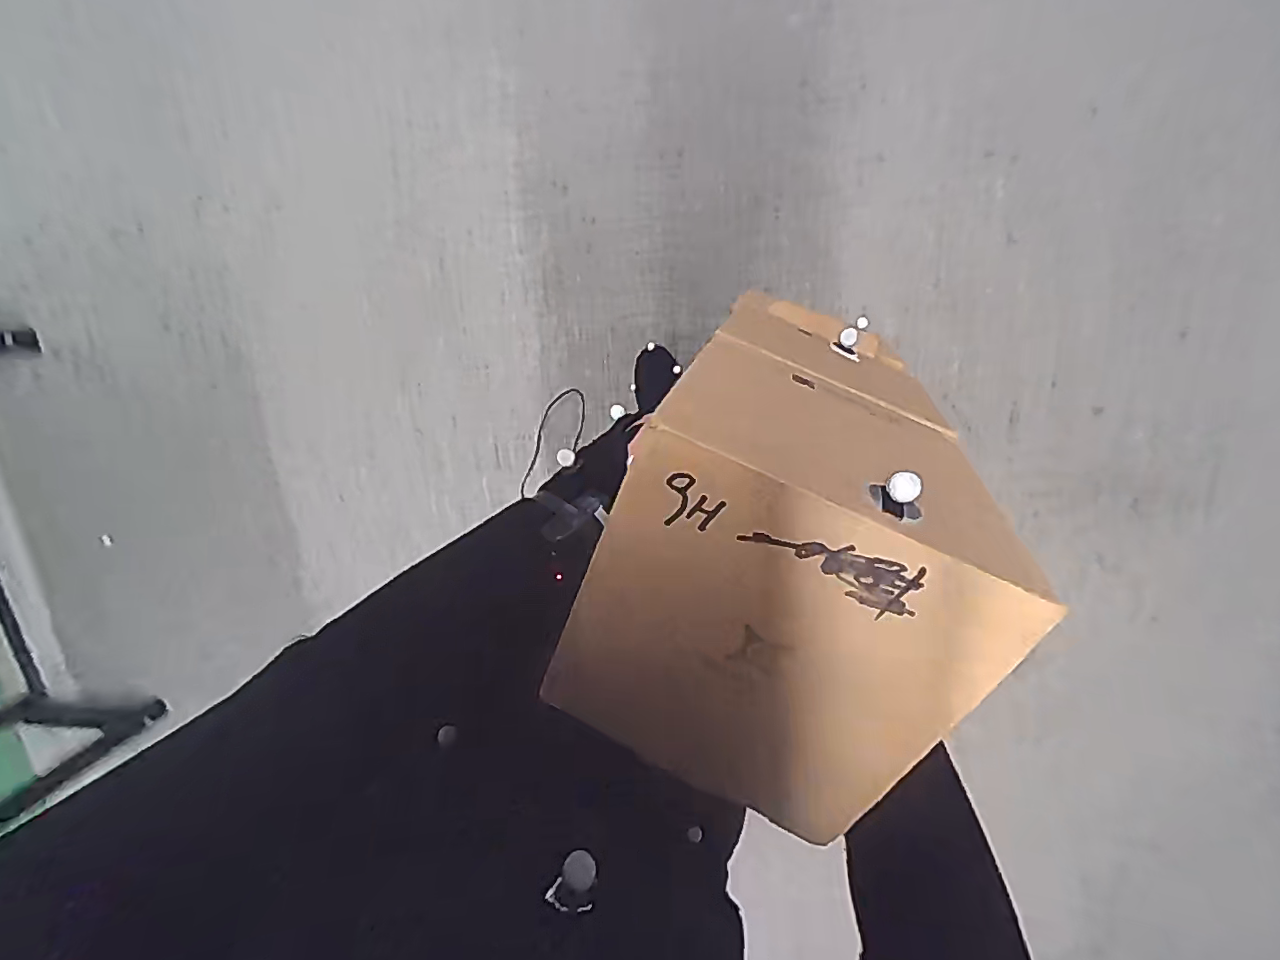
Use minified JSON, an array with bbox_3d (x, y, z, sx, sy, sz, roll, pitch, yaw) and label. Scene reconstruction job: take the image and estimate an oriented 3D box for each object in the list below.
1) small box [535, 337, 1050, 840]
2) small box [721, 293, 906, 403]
[{"bbox_3d":[0.066,0.044,0.302,0.168,0.176,0.179,24,121,5],"label":"small box"},{"bbox_3d":[0.156,-0.091,0.587,0.168,0.176,0.179,21,119,7],"label":"small box"}]
